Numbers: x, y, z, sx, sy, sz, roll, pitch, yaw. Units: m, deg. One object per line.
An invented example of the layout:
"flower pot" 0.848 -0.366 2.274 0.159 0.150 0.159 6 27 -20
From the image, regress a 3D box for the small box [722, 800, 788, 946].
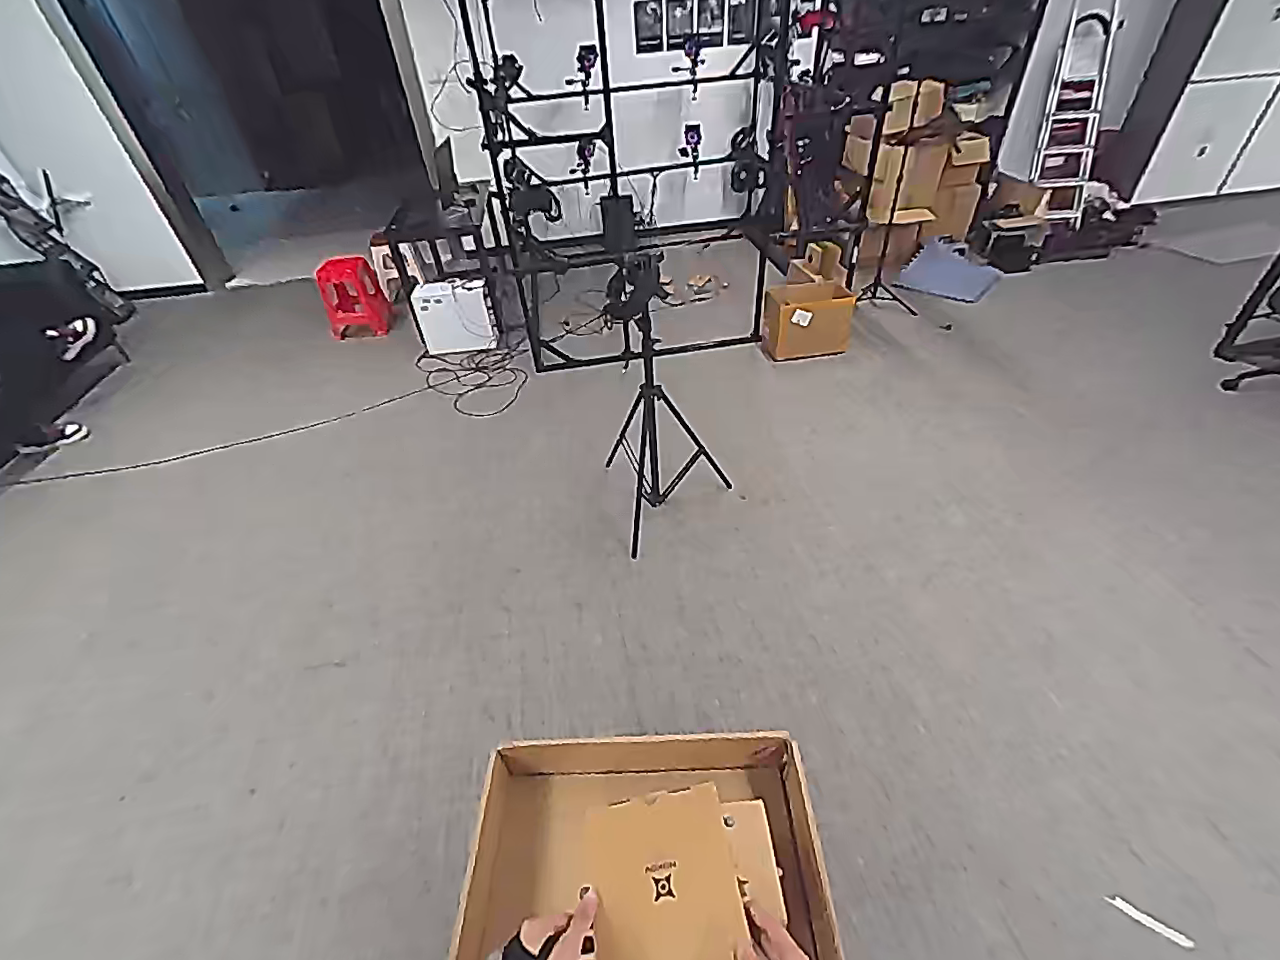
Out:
"small box" 0.151 0.689 0.942 0.168 0.176 0.179 -5 39 0

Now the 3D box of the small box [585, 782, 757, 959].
"small box" 0.034 0.492 0.646 0.168 0.176 0.179 -10 46 -3
